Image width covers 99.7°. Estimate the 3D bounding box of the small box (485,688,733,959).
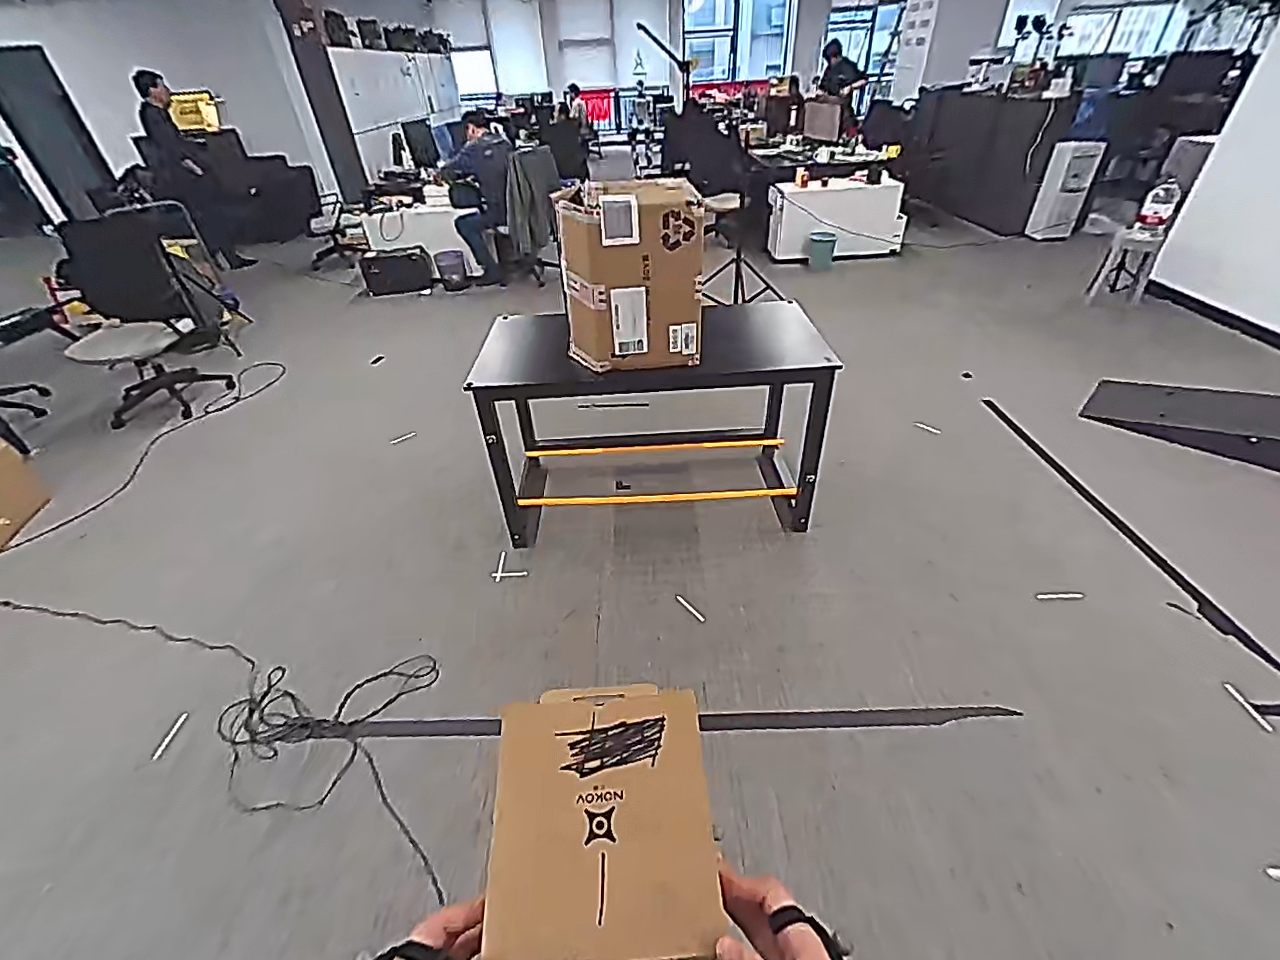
[{"bbox_3d":[-0.023,0.303,0.466,0.168,0.176,0.179,-5,47,-1],"label":"small box"}]
